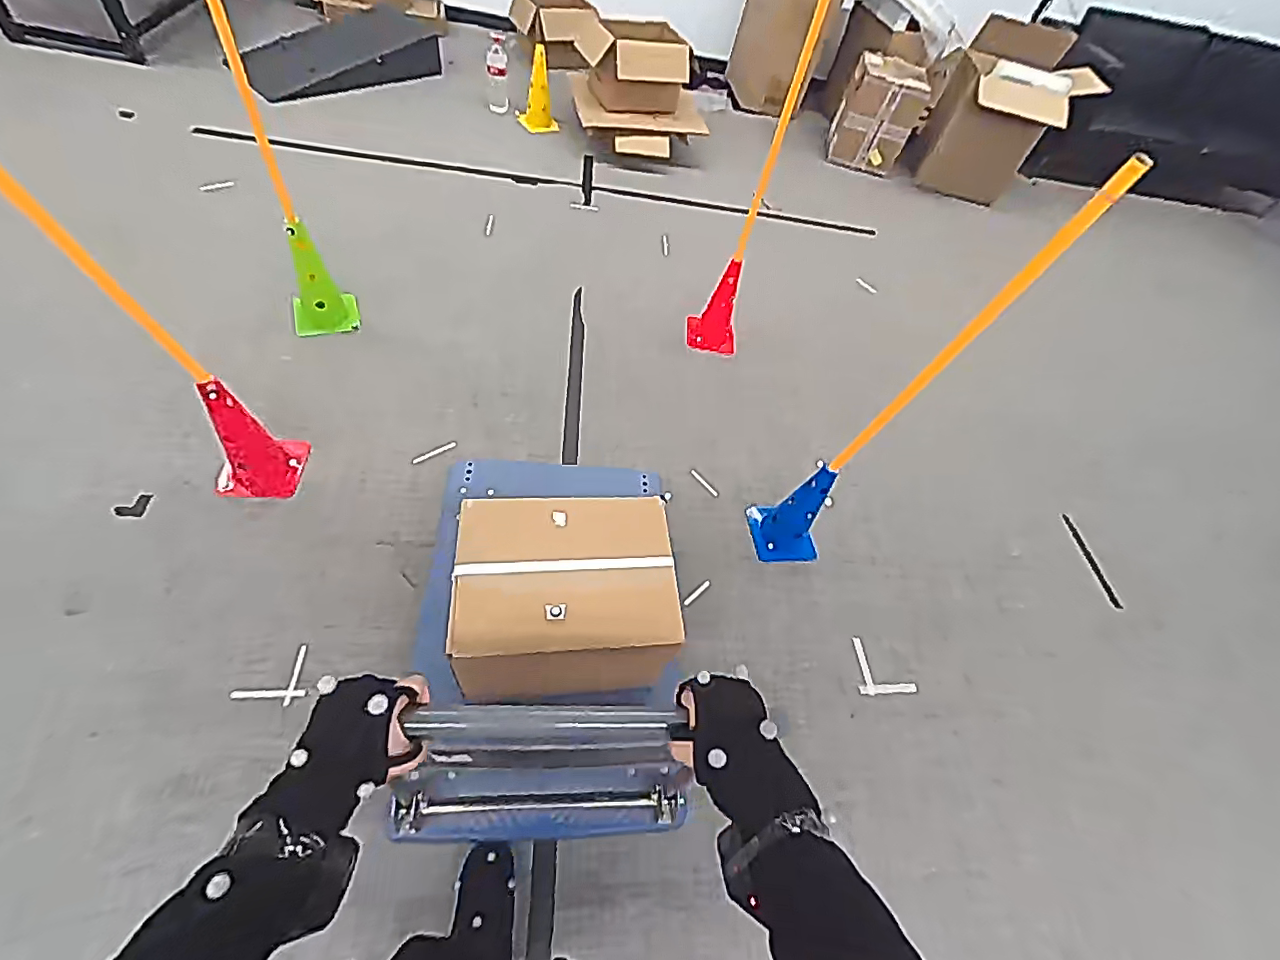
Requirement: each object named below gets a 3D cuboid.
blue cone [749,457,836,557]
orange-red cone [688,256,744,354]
[{"bbox_3d":[0.483,0.067,1.599,0.193,0.380,0.192,1,55,-12],"label":"blue cone"},{"bbox_3d":[0.327,-0.694,2.076,0.199,0.360,0.198,10,55,-7],"label":"orange-red cone"}]
